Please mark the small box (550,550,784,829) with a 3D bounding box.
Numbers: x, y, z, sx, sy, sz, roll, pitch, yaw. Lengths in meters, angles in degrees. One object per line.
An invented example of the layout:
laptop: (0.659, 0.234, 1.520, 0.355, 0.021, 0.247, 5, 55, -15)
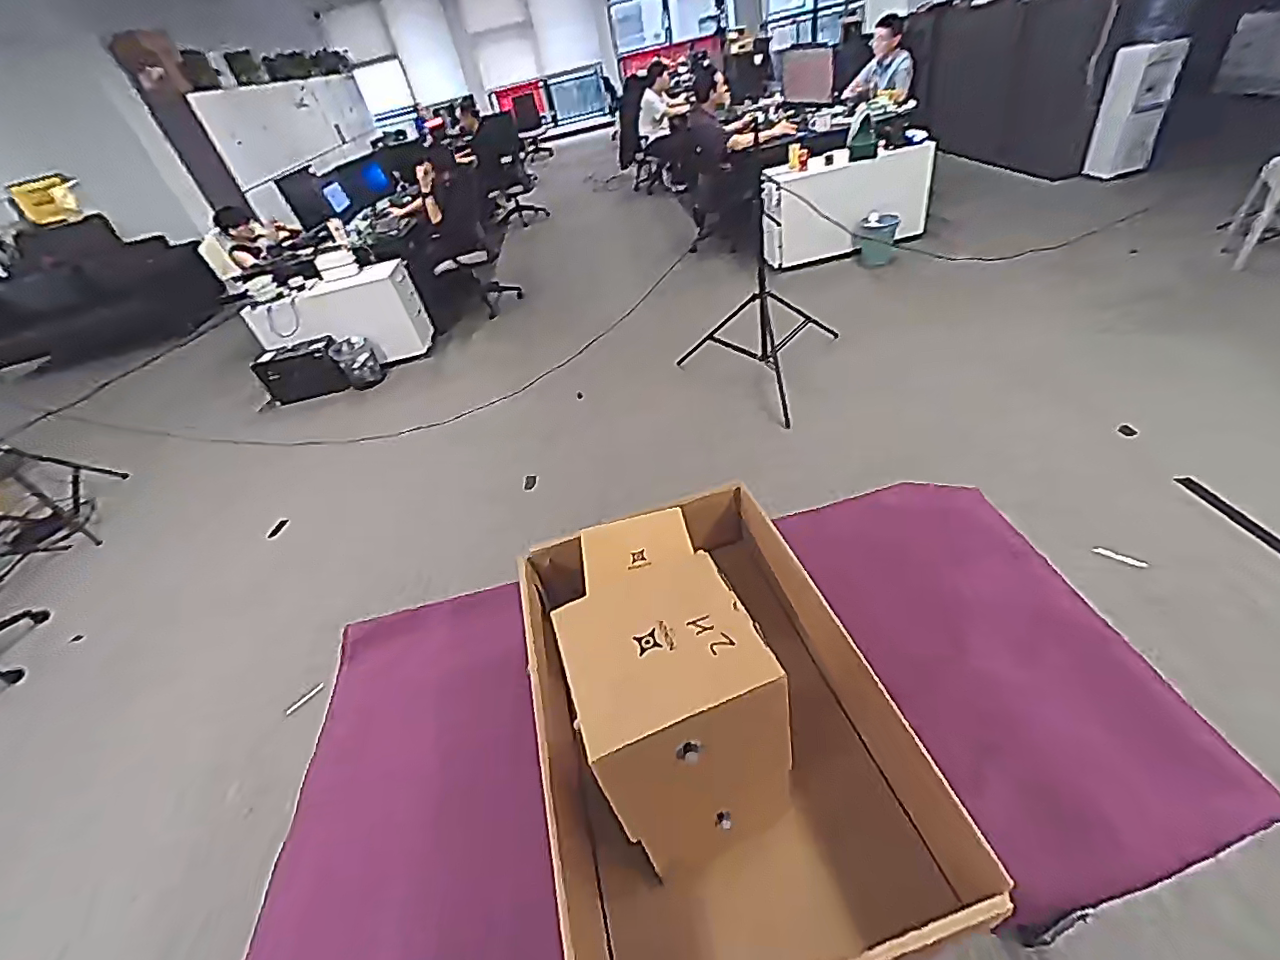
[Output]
small box: (0.029, 0.207, 0.539, 0.179, 0.176, 0.168, -20, 38, -8)
